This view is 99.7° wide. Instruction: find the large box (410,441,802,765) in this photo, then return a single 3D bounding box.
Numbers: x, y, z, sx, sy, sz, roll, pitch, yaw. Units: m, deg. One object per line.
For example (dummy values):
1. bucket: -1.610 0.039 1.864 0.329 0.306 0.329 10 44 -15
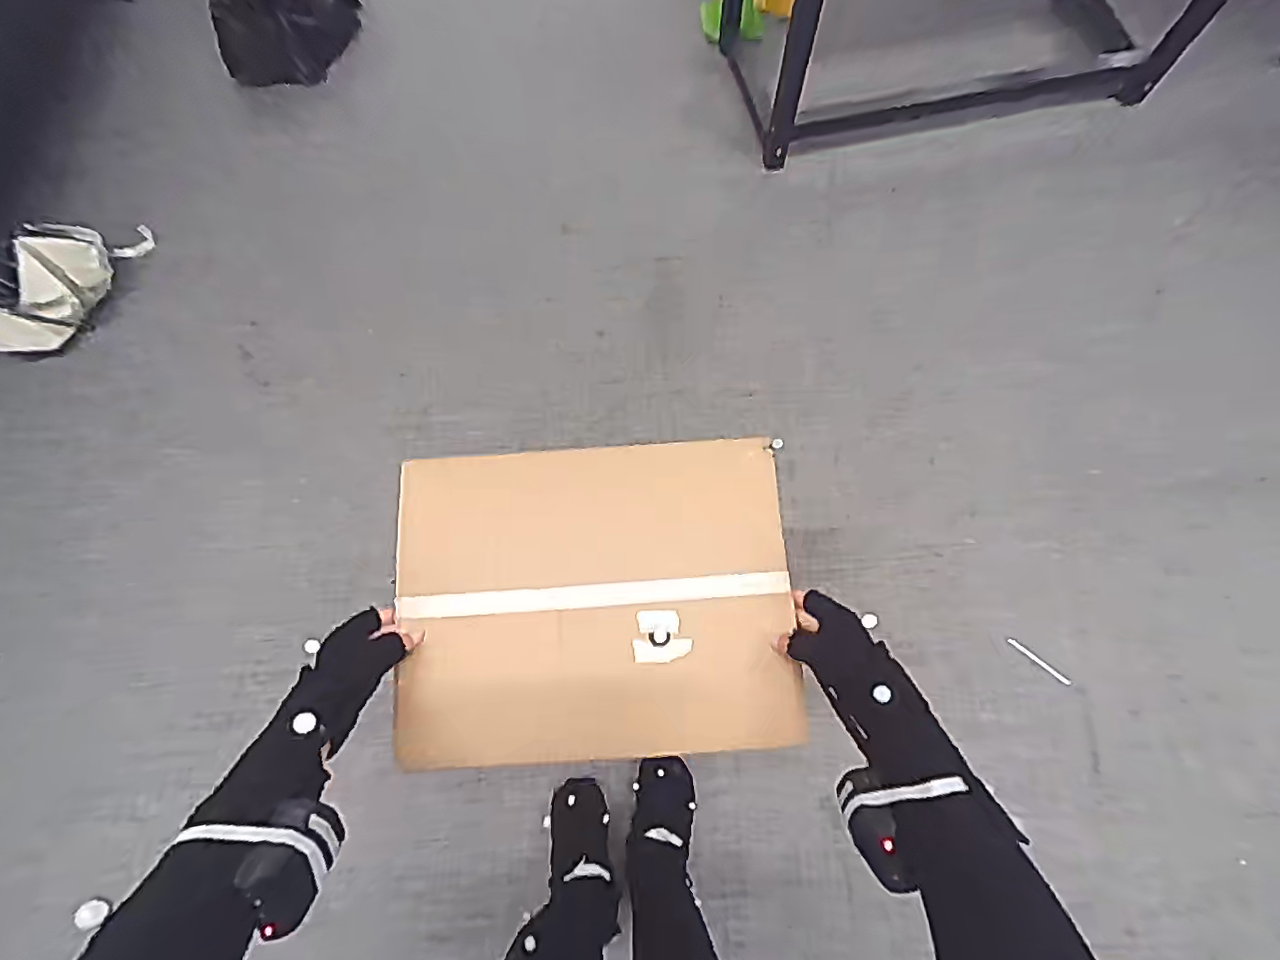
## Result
1. large box: -0.045 0.154 0.719 0.408 0.320 0.320 -4 78 0
